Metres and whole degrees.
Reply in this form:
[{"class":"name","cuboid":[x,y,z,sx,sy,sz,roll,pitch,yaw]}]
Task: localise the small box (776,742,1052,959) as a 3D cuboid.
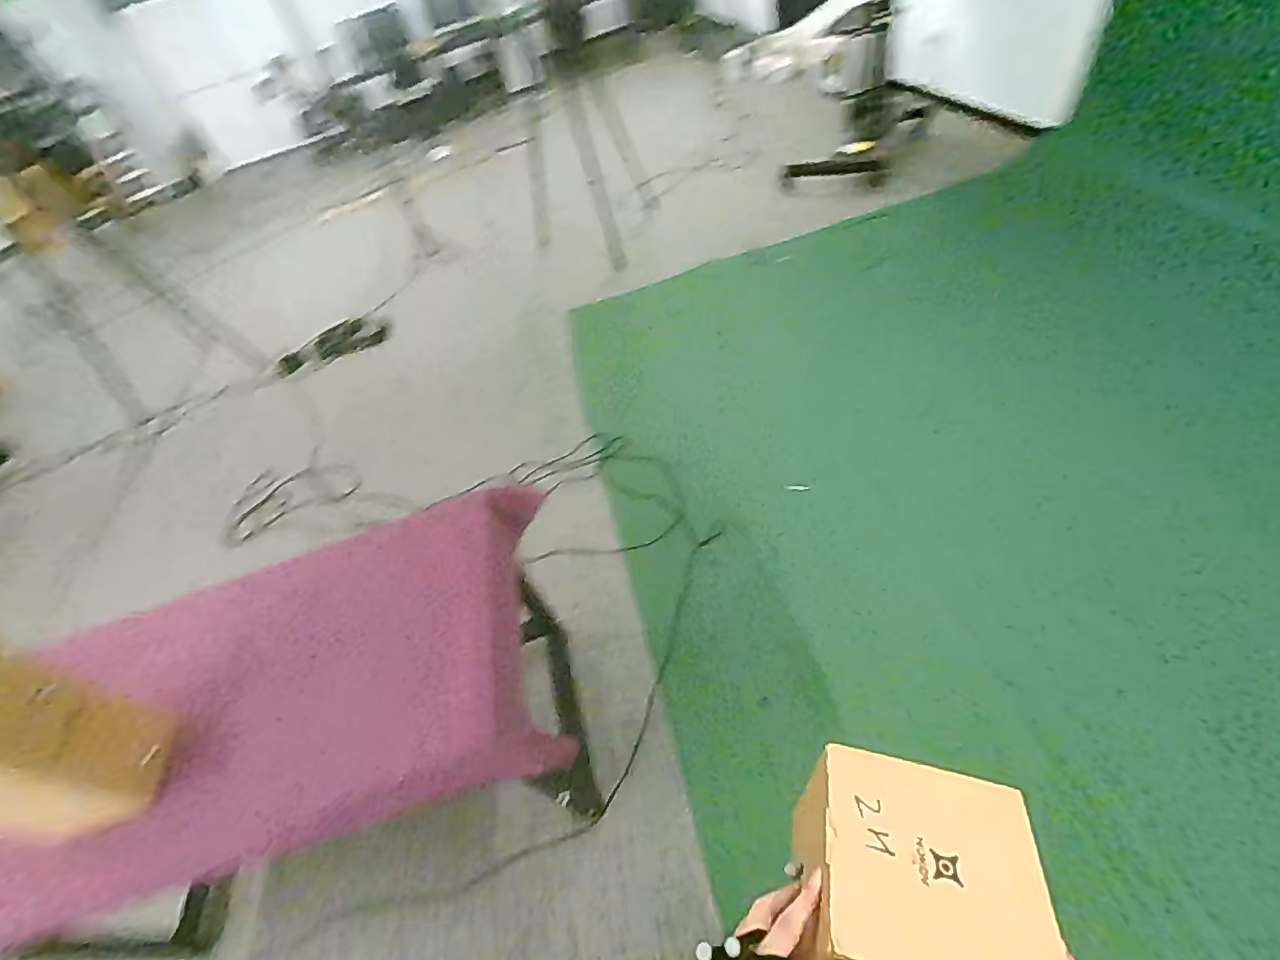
[{"class":"small box","cuboid":[0.231,0.379,0.498,0.179,0.176,0.168,9,38,11]}]
